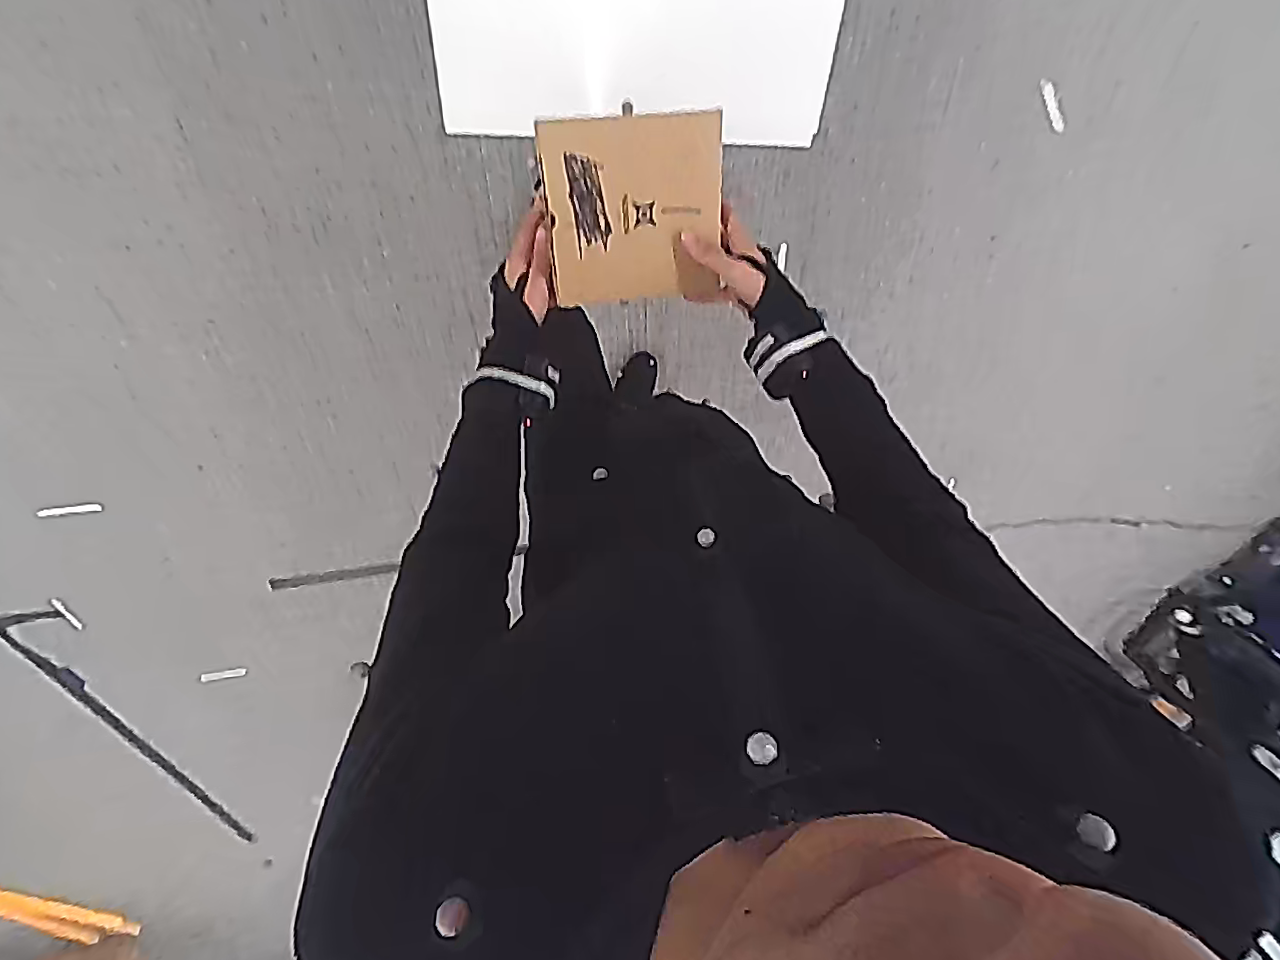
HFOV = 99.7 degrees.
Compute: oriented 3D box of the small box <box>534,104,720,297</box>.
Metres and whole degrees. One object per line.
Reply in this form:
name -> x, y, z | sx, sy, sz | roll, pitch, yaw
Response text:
small box -> -0.019, -0.309, 0.603 | 0.179, 0.176, 0.168 | -8, 121, -7
